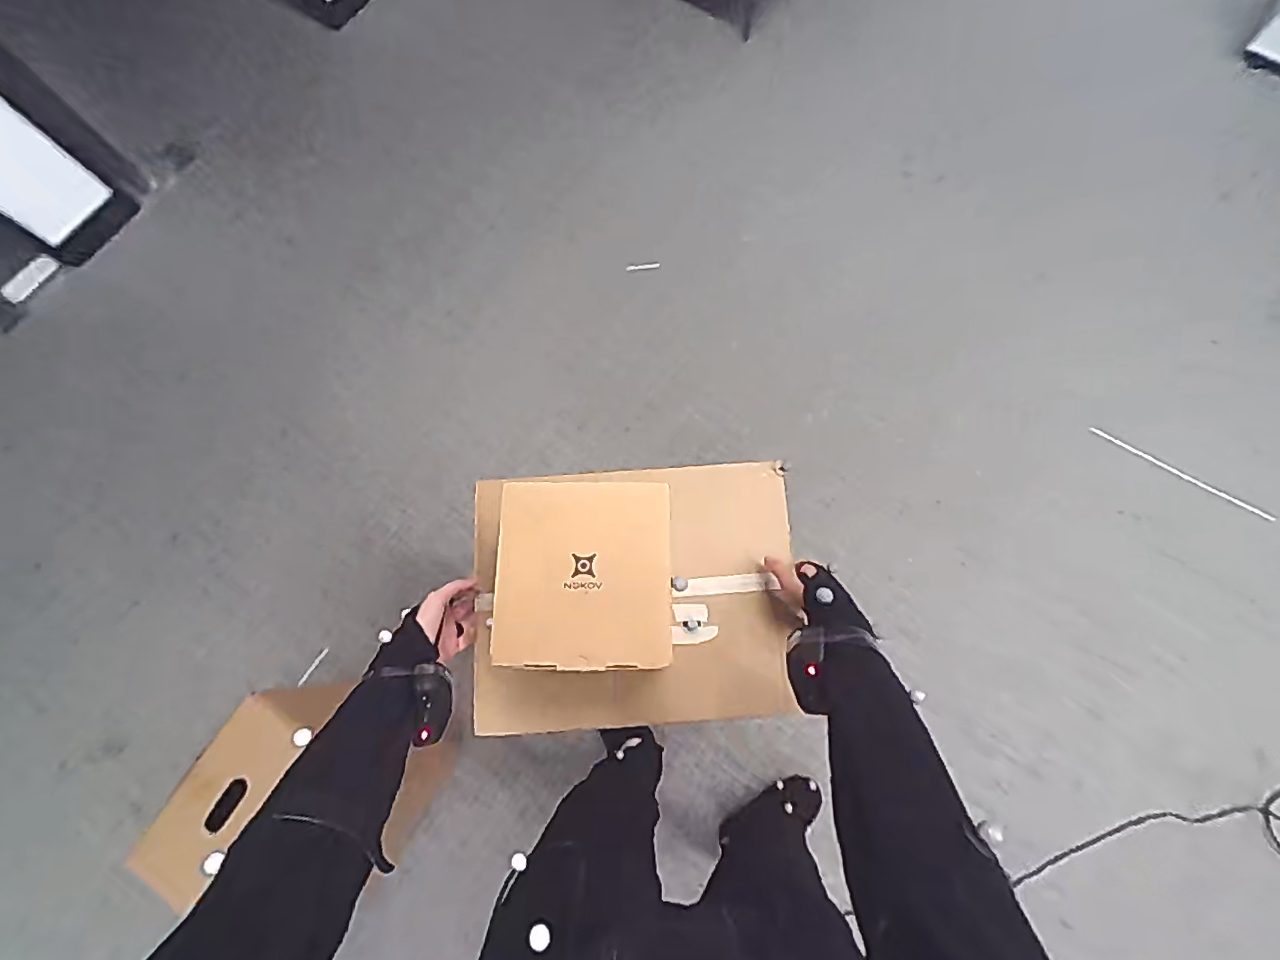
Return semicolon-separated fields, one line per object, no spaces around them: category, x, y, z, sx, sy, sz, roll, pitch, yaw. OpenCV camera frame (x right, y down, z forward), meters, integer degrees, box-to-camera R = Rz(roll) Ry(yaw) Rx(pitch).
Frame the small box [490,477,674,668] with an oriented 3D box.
small box;-0.050;0.103;0.576;0.168;0.176;0.179;0;75;1

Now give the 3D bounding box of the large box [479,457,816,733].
large box;-0.001;0.170;0.811;0.408;0.320;0.320;-4;76;-1
